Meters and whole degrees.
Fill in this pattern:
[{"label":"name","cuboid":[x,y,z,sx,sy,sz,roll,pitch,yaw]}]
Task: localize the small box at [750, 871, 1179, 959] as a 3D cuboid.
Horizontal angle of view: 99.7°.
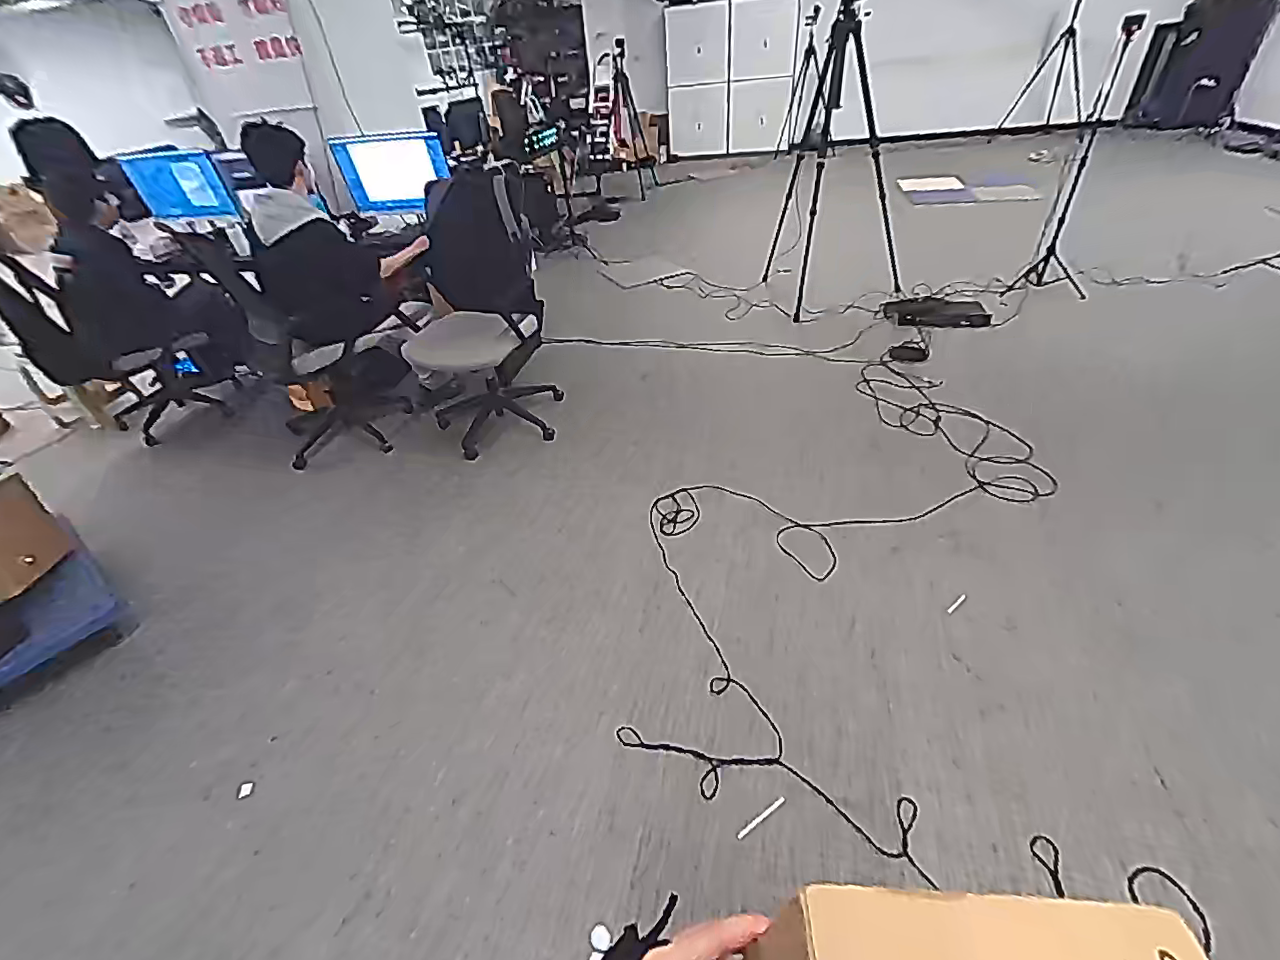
[{"label":"small box","cuboid":[0.148,0.308,0.246,0.179,0.176,0.168,5,39,0]}]
